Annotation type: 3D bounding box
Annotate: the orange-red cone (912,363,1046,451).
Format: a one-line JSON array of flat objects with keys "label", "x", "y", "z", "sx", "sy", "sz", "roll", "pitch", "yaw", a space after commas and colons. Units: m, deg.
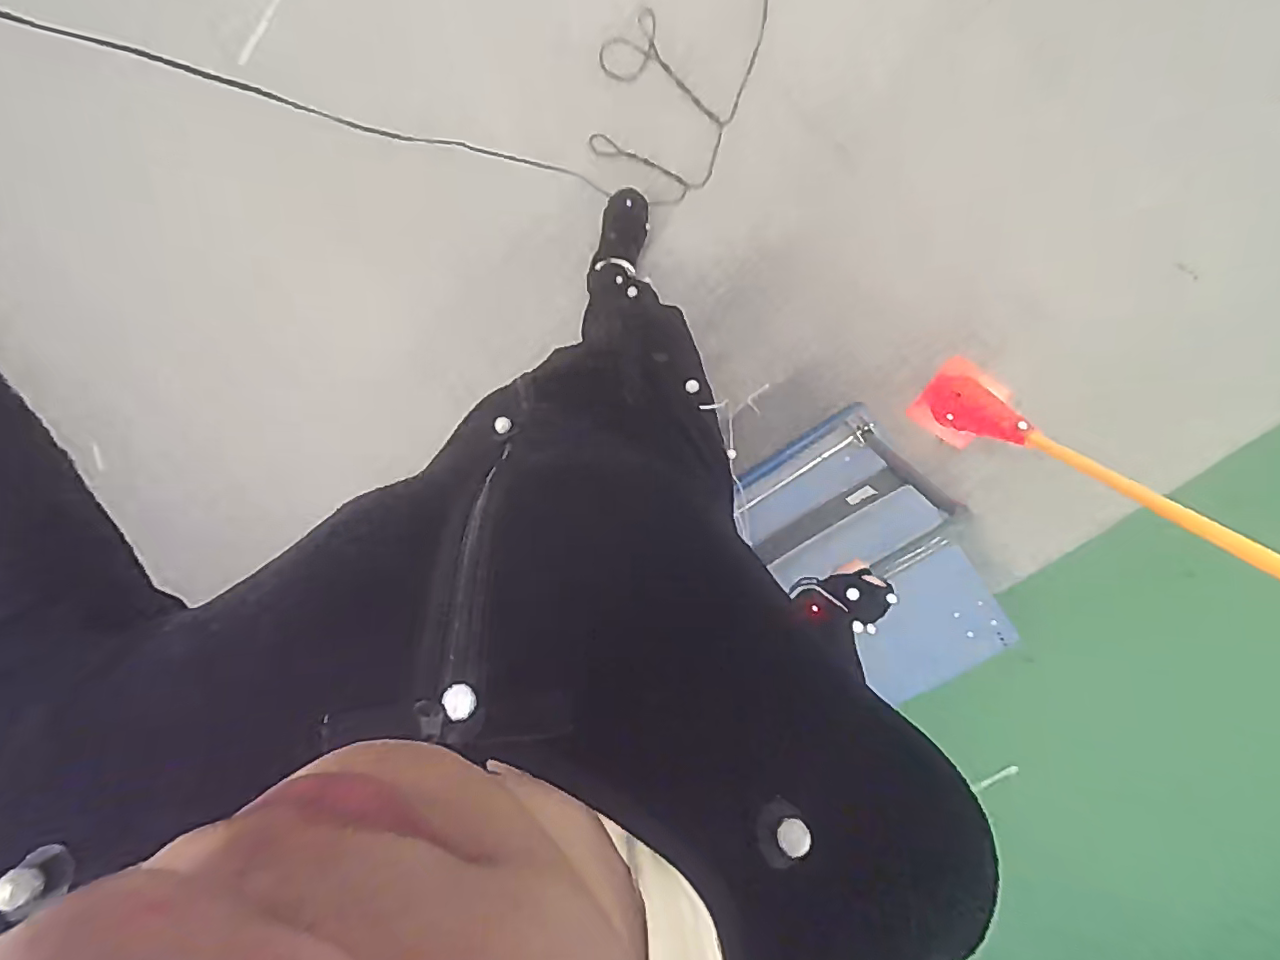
[{"label": "orange-red cone", "x": 0.868, "y": -0.140, "z": 1.325, "sx": 0.198, "sy": 0.360, "sz": 0.199, "roll": 32, "pitch": 109, "yaw": -7}]
